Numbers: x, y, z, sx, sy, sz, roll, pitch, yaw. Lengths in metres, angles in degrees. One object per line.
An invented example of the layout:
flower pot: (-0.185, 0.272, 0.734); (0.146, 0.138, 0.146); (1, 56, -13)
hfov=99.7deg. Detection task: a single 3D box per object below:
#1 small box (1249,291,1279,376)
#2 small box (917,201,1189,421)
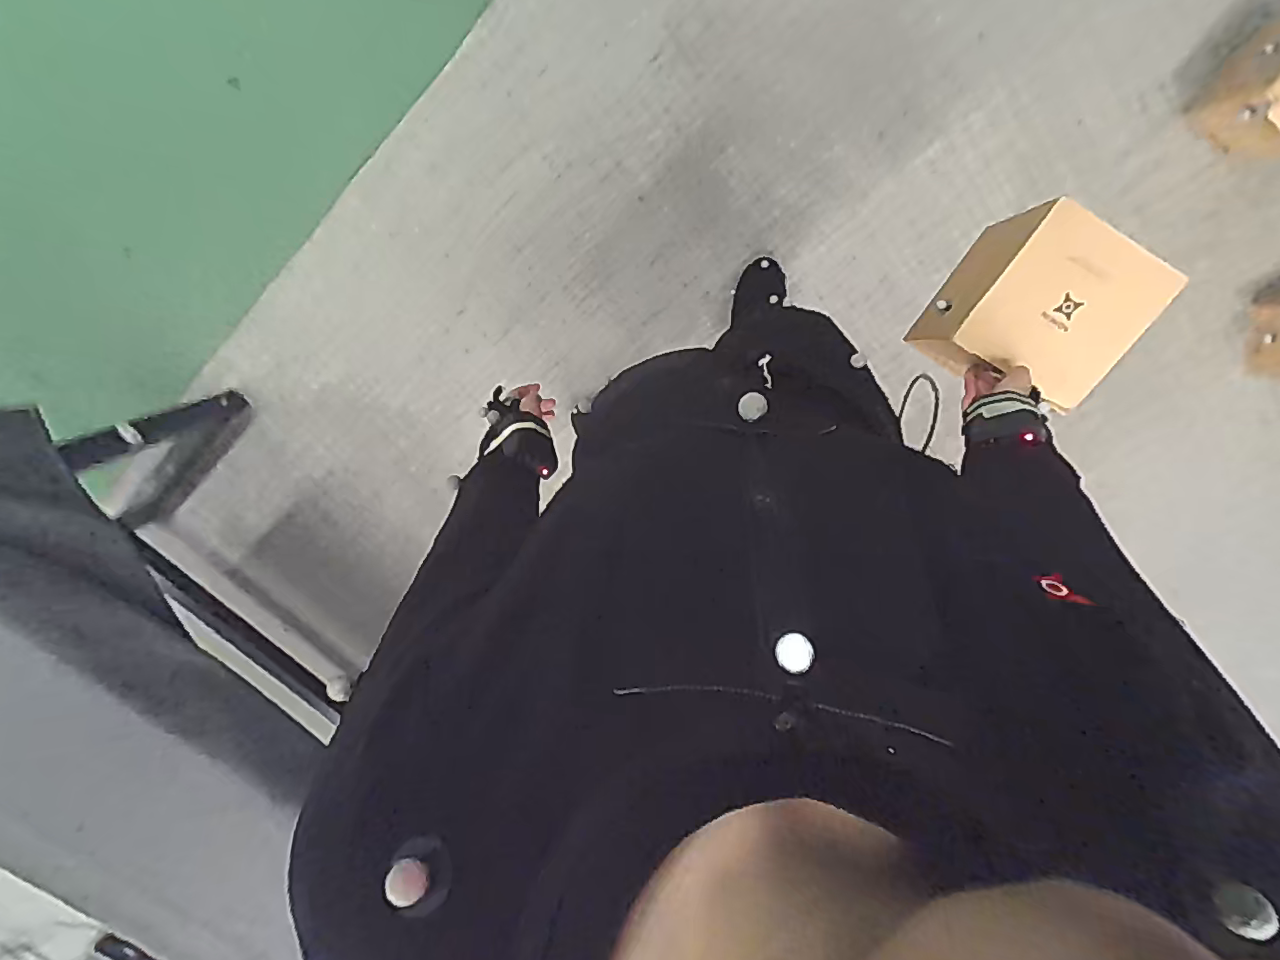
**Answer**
small box: (1.397, -0.307, 1.079); (0.179, 0.176, 0.168); (-19, 110, 13)
small box: (0.474, -0.197, 0.663); (0.168, 0.176, 0.179); (33, 105, -2)
